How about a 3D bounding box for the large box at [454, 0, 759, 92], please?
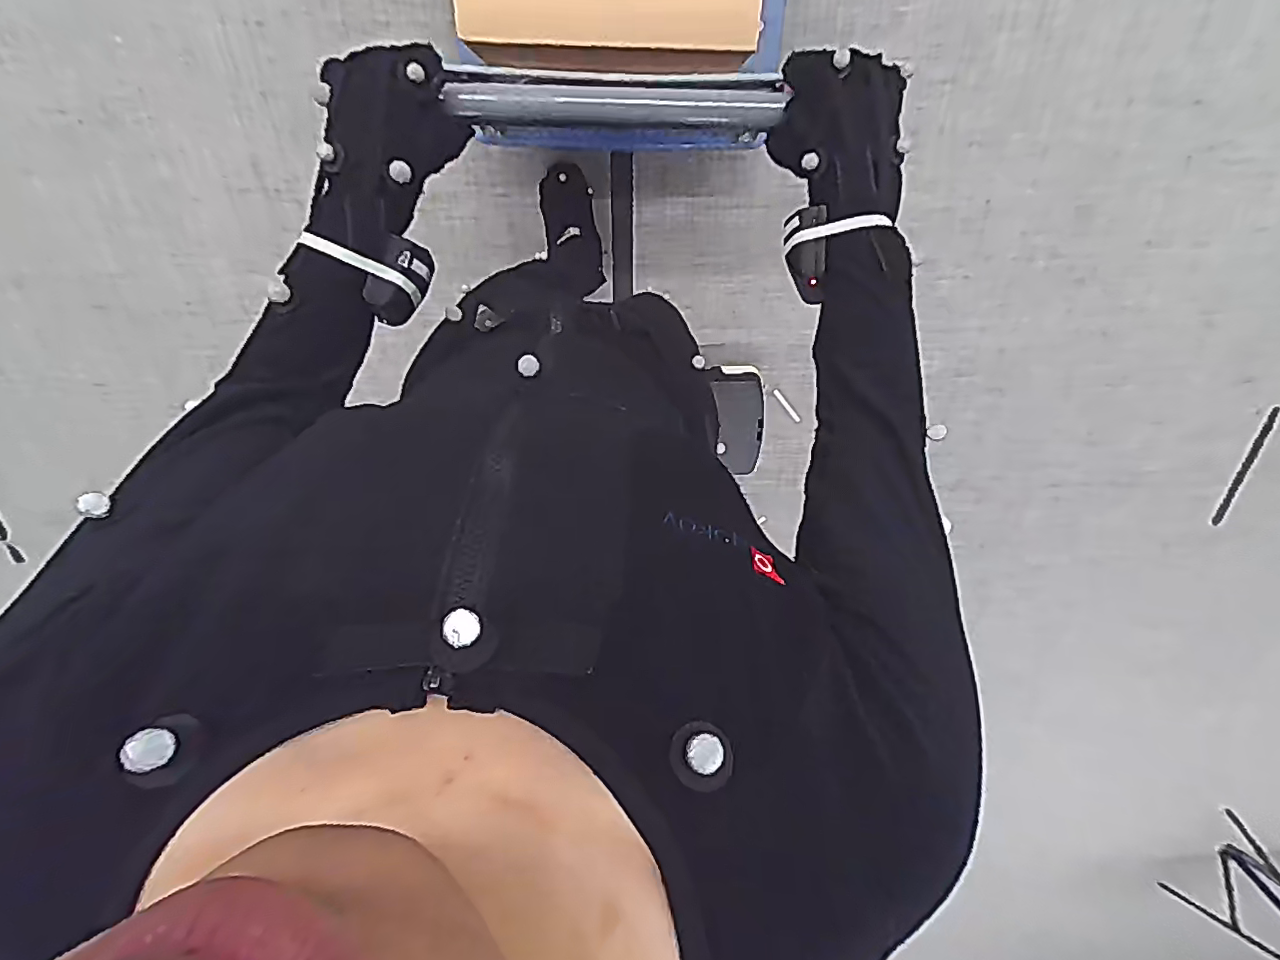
[{"bbox_3d":[-0.050,-0.779,0.786,0.408,0.320,0.320,-1,119,-3],"label":"large box"}]
